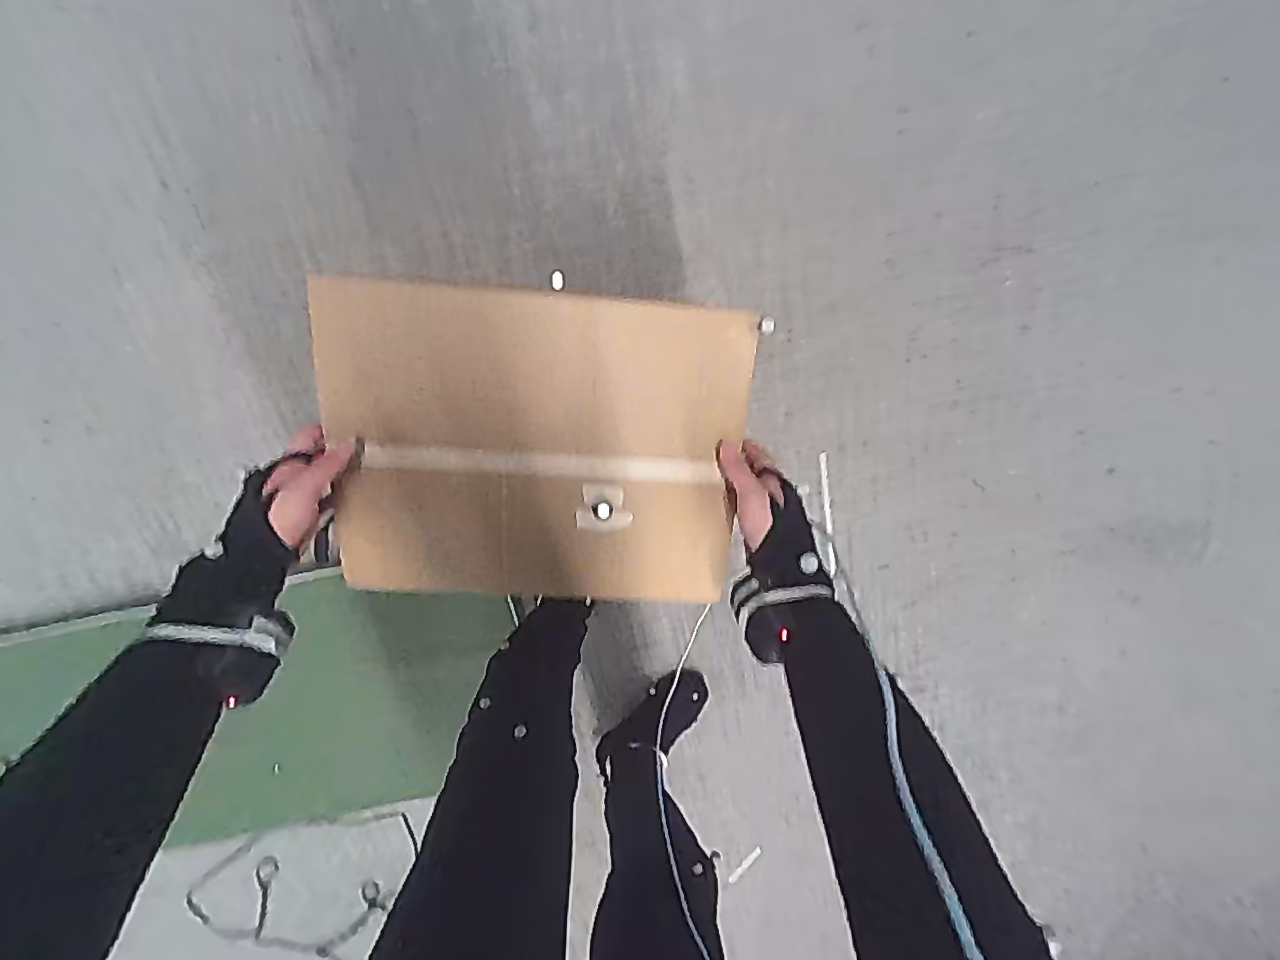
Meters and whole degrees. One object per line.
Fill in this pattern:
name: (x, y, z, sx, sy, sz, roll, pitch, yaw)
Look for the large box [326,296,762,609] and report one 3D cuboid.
large box: (-0.104, -0.056, 0.681, 0.408, 0.320, 0.320, 3, 110, -5)
